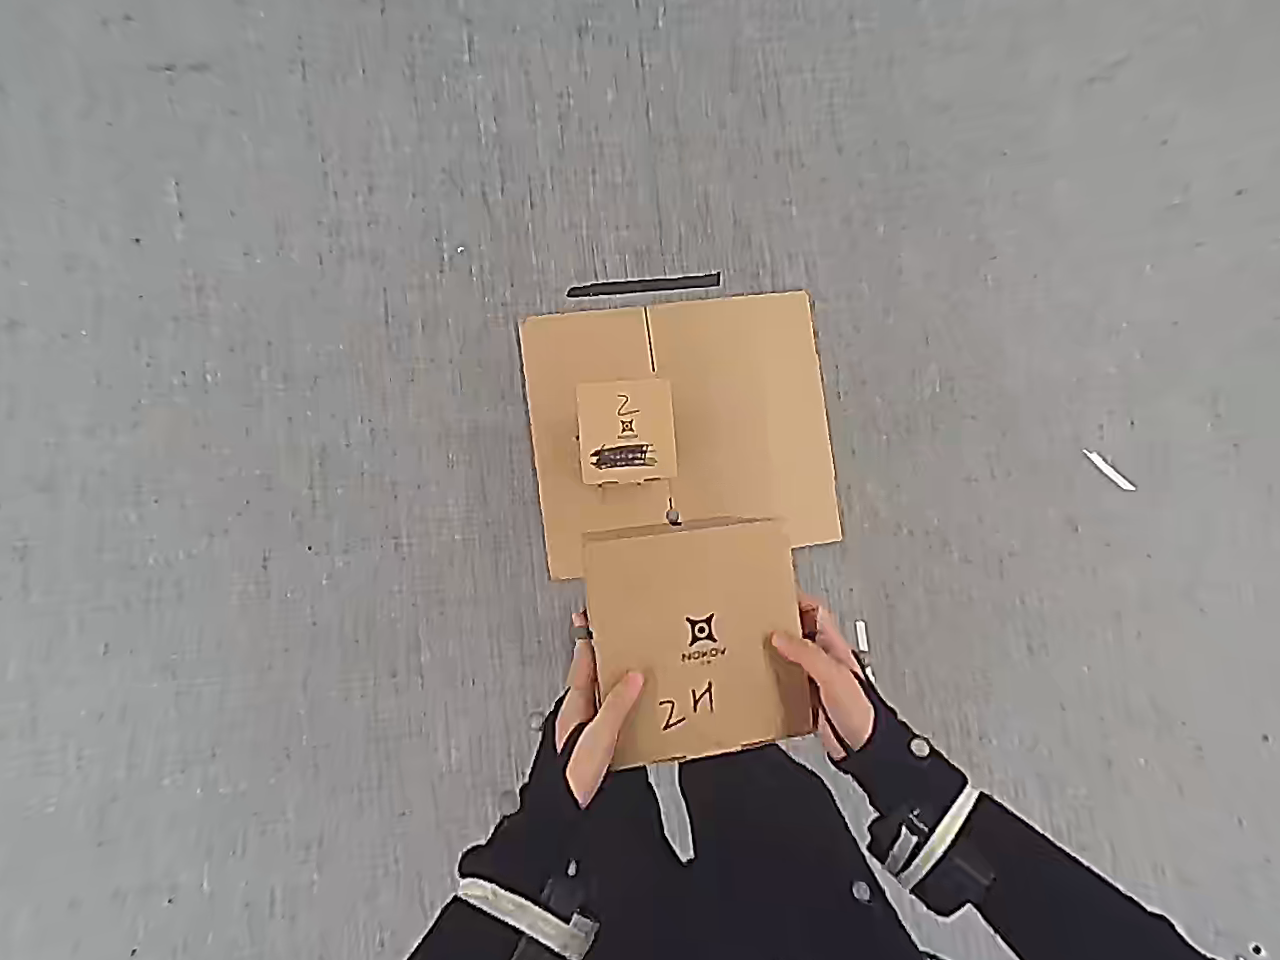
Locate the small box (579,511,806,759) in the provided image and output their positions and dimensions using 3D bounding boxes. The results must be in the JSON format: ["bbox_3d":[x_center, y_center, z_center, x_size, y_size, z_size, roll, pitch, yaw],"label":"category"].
[{"bbox_3d":[0.034,0.125,0.506,0.168,0.176,0.179,-6,88,-8],"label":"small box"}]

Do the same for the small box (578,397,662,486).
[{"bbox_3d":[-0.048,-0.076,1.165,0.168,0.176,0.179,-3,88,-7],"label":"small box"}]
